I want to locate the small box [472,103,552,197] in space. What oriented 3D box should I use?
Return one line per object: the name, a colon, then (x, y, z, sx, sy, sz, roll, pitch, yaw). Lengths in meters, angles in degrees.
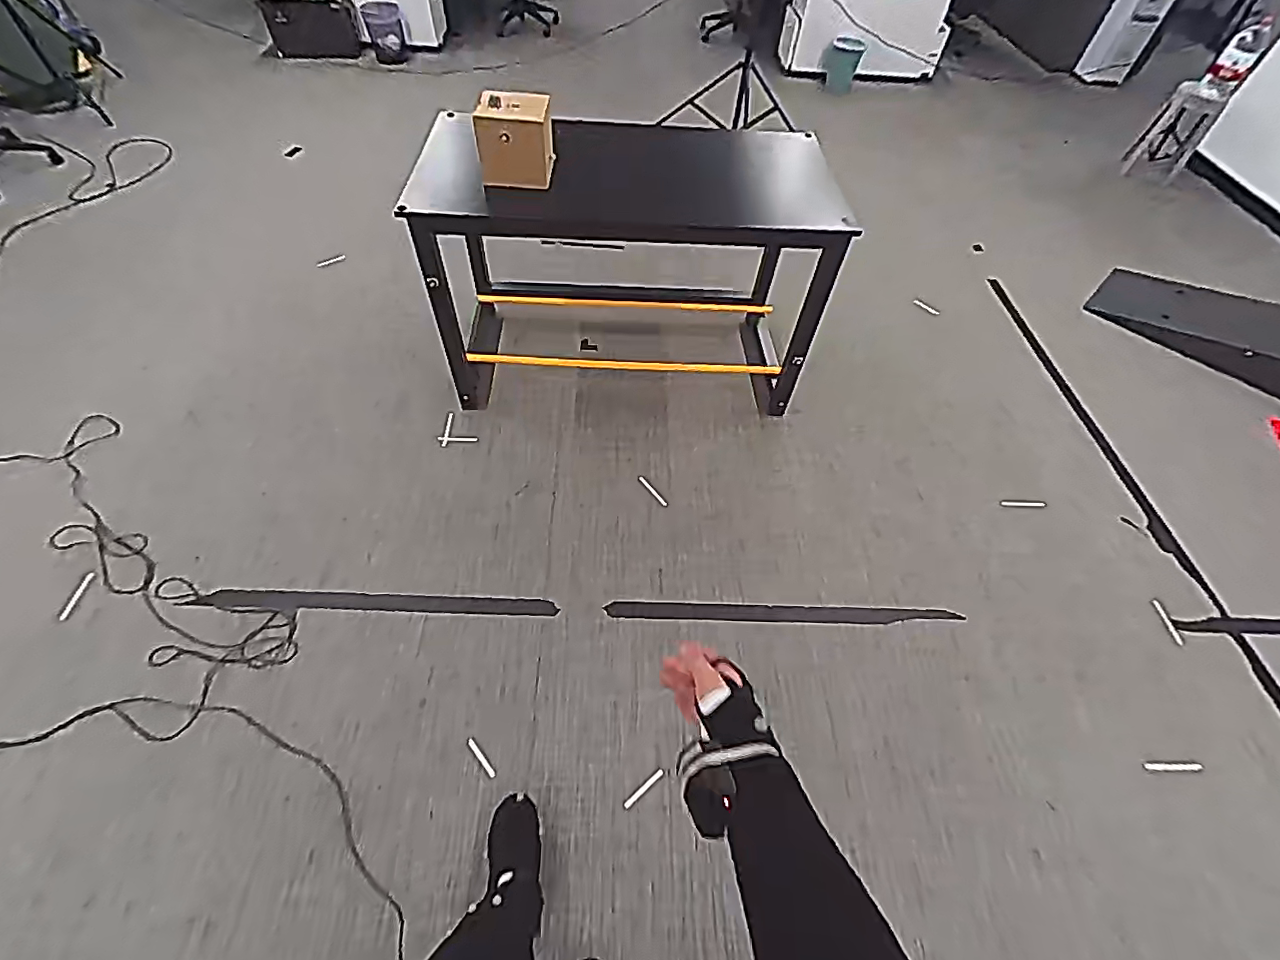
small box: (-0.337, -0.886, 1.456, 0.179, 0.176, 0.168, 2, 53, -3)
